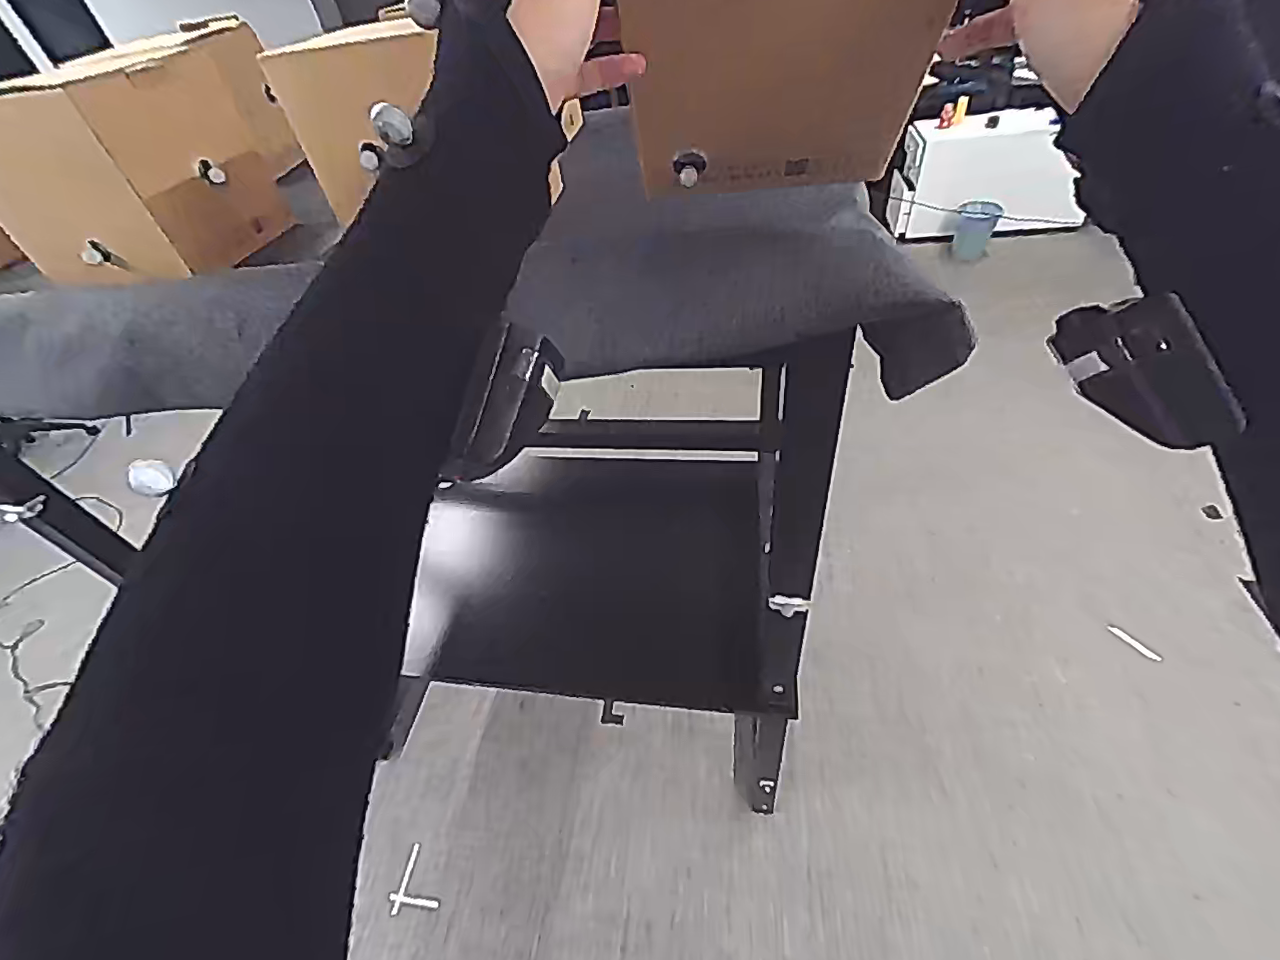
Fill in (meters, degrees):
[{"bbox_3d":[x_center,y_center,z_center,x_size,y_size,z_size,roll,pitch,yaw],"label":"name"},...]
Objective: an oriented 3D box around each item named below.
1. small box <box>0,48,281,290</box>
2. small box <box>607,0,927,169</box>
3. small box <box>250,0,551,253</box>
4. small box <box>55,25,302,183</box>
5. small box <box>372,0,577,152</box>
[{"bbox_3d":[-0.514,-0.305,0.539,0.179,0.176,0.168,1,45,9],"label":"small box"},{"bbox_3d":[0.069,-0.311,0.314,0.168,0.176,0.179,-2,78,6],"label":"small box"},{"bbox_3d":[-0.193,-0.323,0.502,0.168,0.176,0.179,-1,45,9],"label":"small box"},{"bbox_3d":[-0.626,-0.518,0.768,0.168,0.176,0.179,-5,45,7],"label":"small box"},{"bbox_3d":[-0.197,-0.530,0.703,0.179,0.176,0.168,1,47,11],"label":"small box"}]
